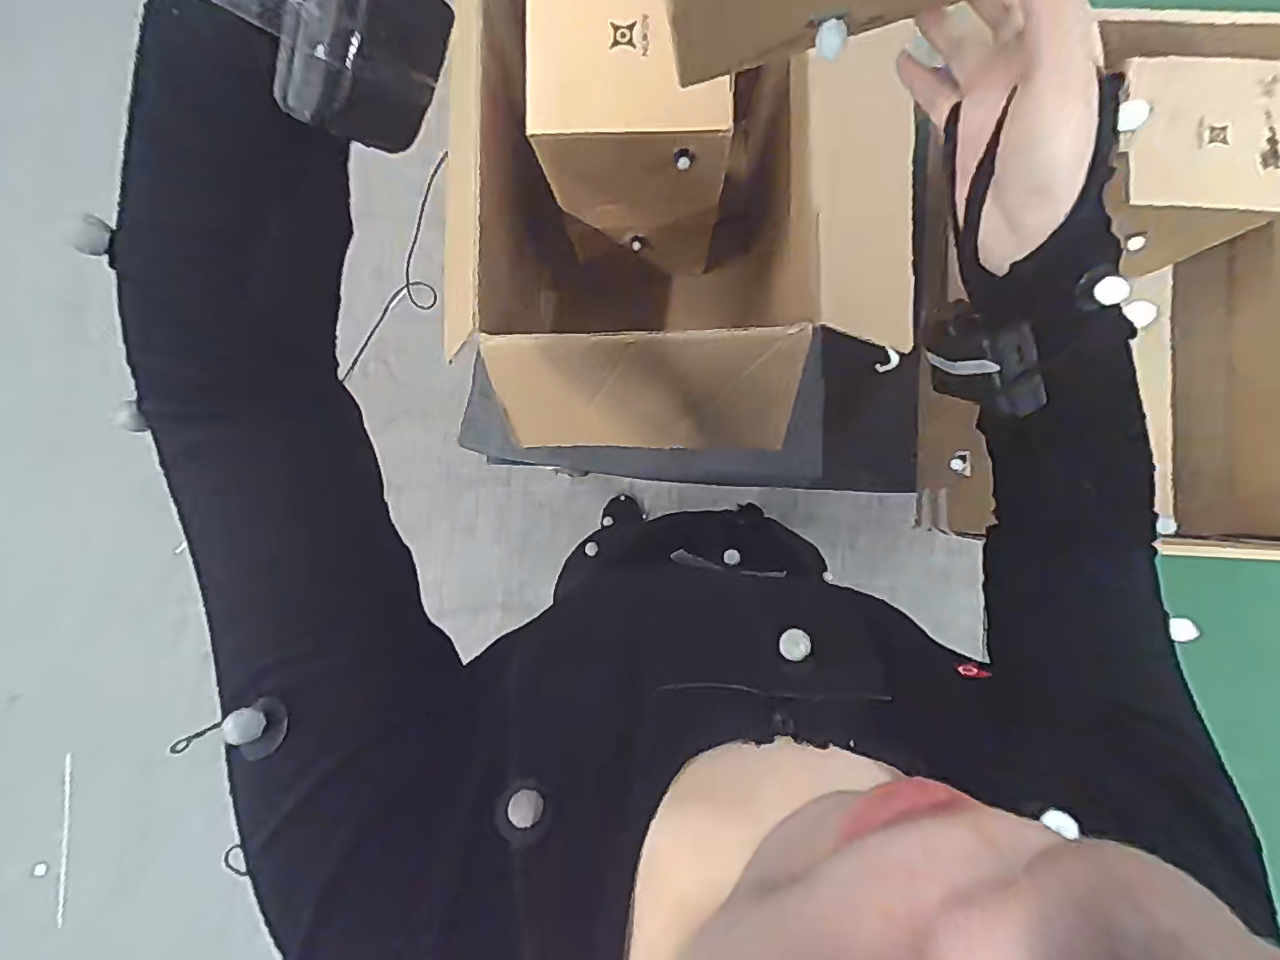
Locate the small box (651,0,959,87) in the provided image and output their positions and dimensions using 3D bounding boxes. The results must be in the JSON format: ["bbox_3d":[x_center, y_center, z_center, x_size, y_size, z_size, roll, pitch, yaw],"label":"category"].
[{"bbox_3d":[0.071,-0.290,0.205,0.168,0.176,0.179,-9,113,11],"label":"small box"}]
